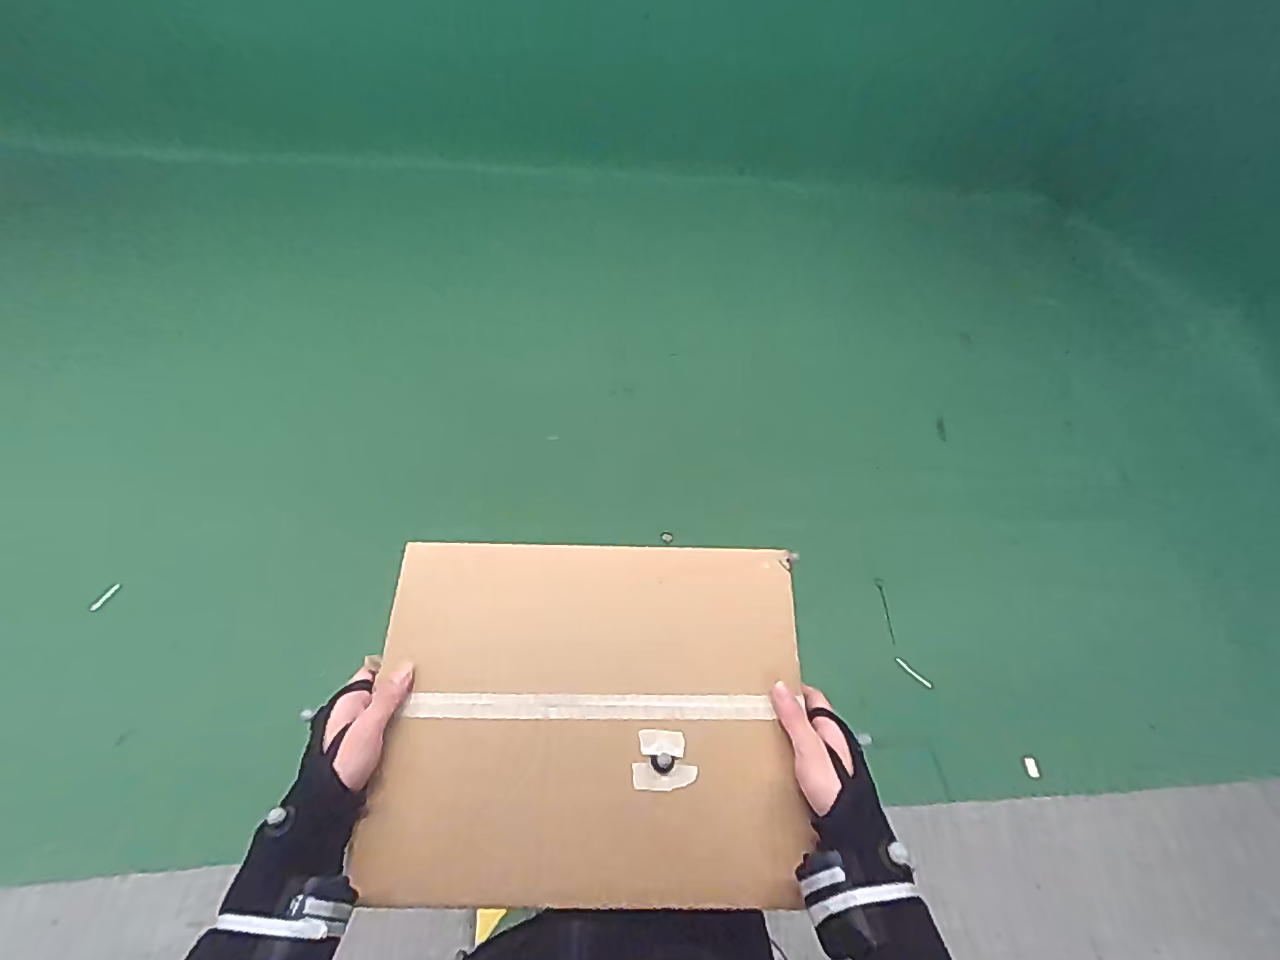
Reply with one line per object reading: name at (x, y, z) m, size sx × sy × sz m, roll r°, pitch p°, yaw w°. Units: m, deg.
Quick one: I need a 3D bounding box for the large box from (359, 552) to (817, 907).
large box at (-0.050, 0.283, 0.660) m, size 0.408 × 0.320 × 0.320 m, roll 1°, pitch 66°, yaw -2°
